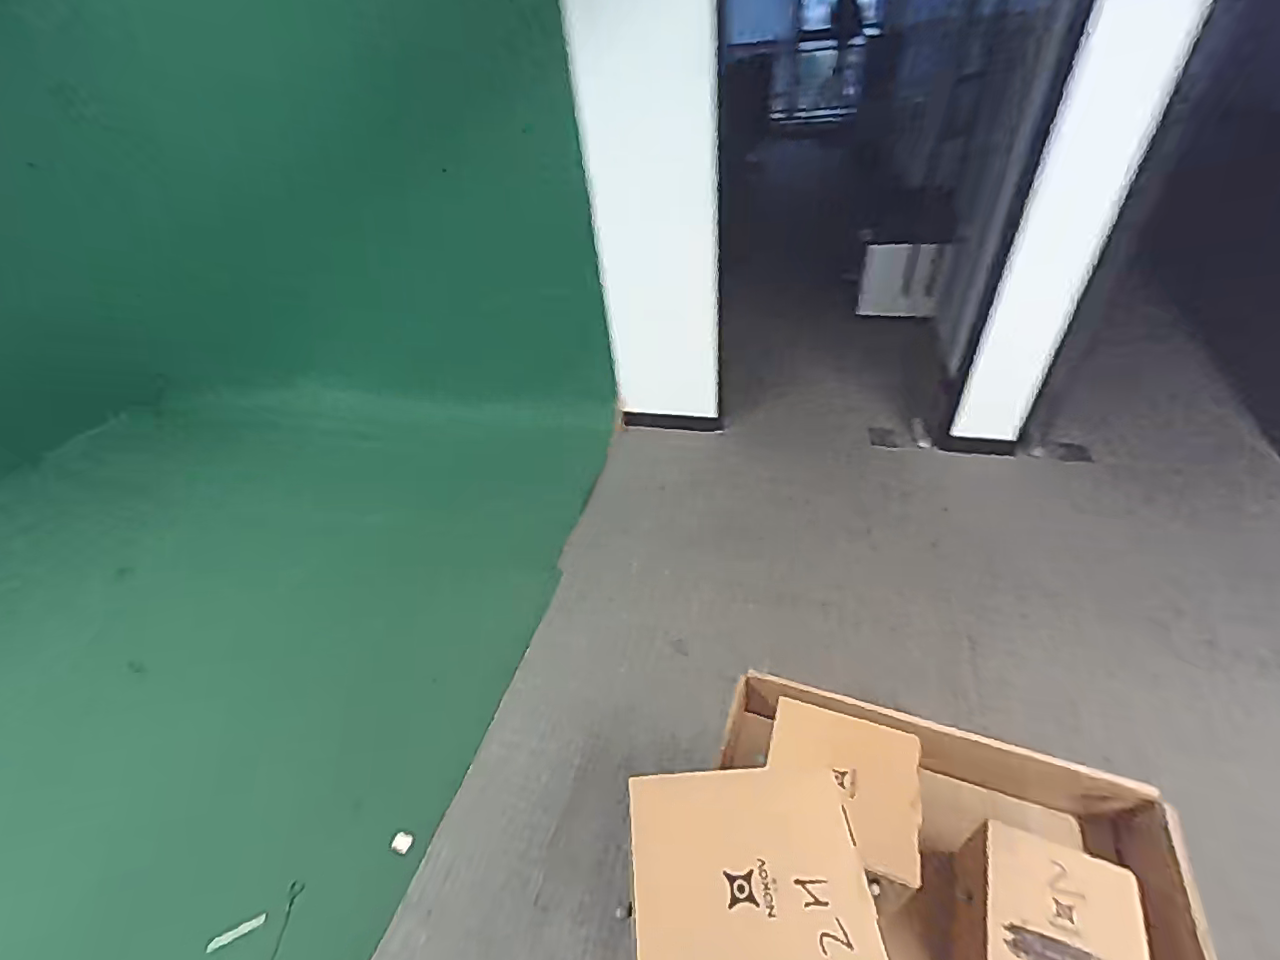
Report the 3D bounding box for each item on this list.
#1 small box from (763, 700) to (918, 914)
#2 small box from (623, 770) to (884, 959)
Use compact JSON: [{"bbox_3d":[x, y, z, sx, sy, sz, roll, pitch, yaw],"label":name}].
[{"bbox_3d":[0.246,0.424,0.703,0.179,0.176,0.168,11,44,18],"label":"small box"},{"bbox_3d":[0.077,0.362,0.449,0.179,0.176,0.168,-1,43,-4],"label":"small box"}]
